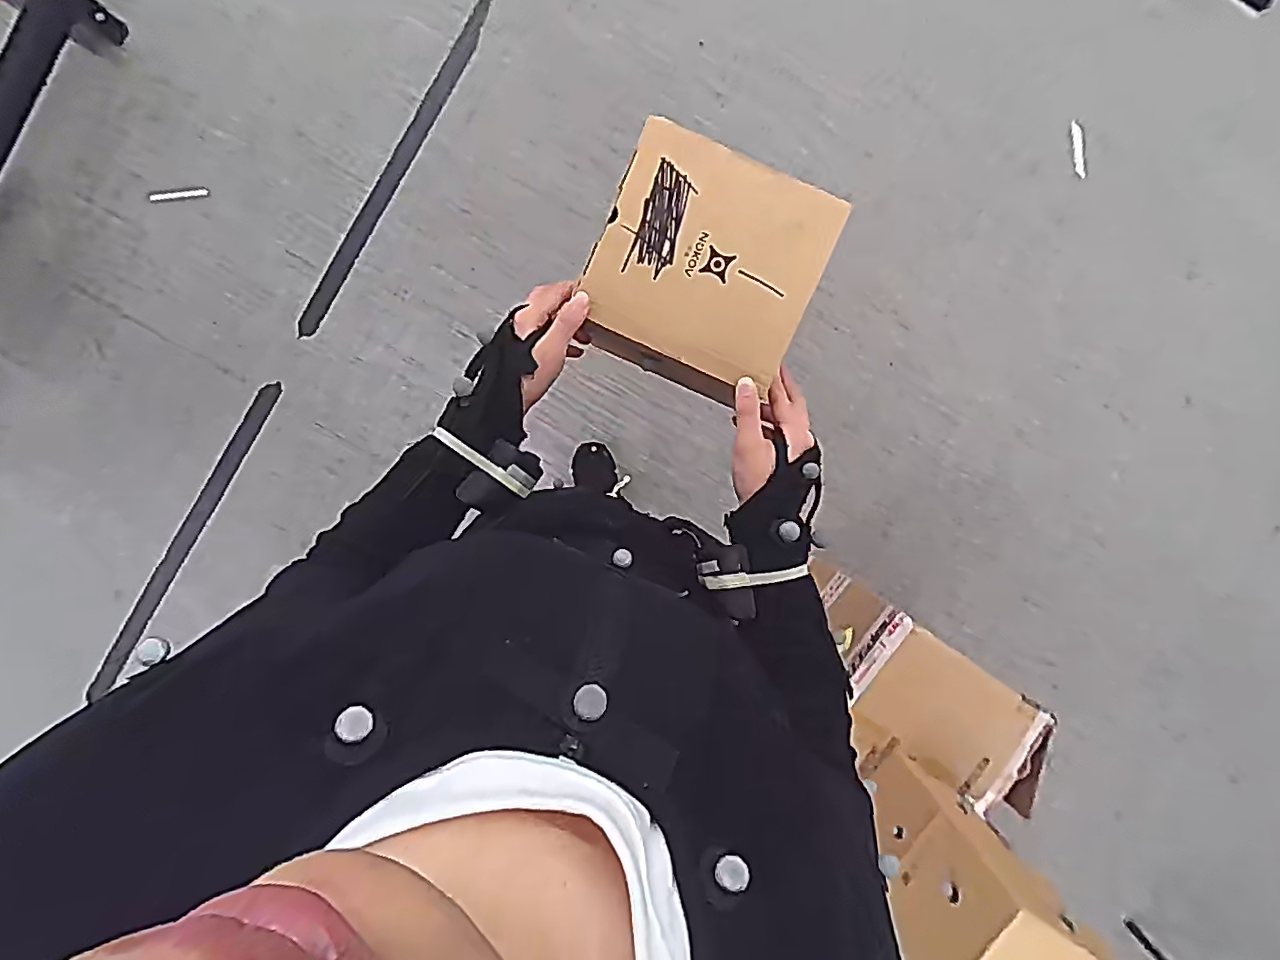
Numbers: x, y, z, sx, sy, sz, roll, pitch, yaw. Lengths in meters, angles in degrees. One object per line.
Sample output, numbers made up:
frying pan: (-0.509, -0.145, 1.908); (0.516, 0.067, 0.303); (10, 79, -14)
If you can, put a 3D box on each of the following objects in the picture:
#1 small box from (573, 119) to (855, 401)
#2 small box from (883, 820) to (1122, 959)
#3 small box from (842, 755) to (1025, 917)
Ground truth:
small box: (0.059, -0.180, 0.506); (0.179, 0.176, 0.168); (24, 95, -1)
small box: (0.443, 0.571, 0.673); (0.179, 0.176, 0.168); (35, 94, -2)
small box: (0.446, 0.573, 0.835); (0.168, 0.176, 0.179); (38, 94, -1)
